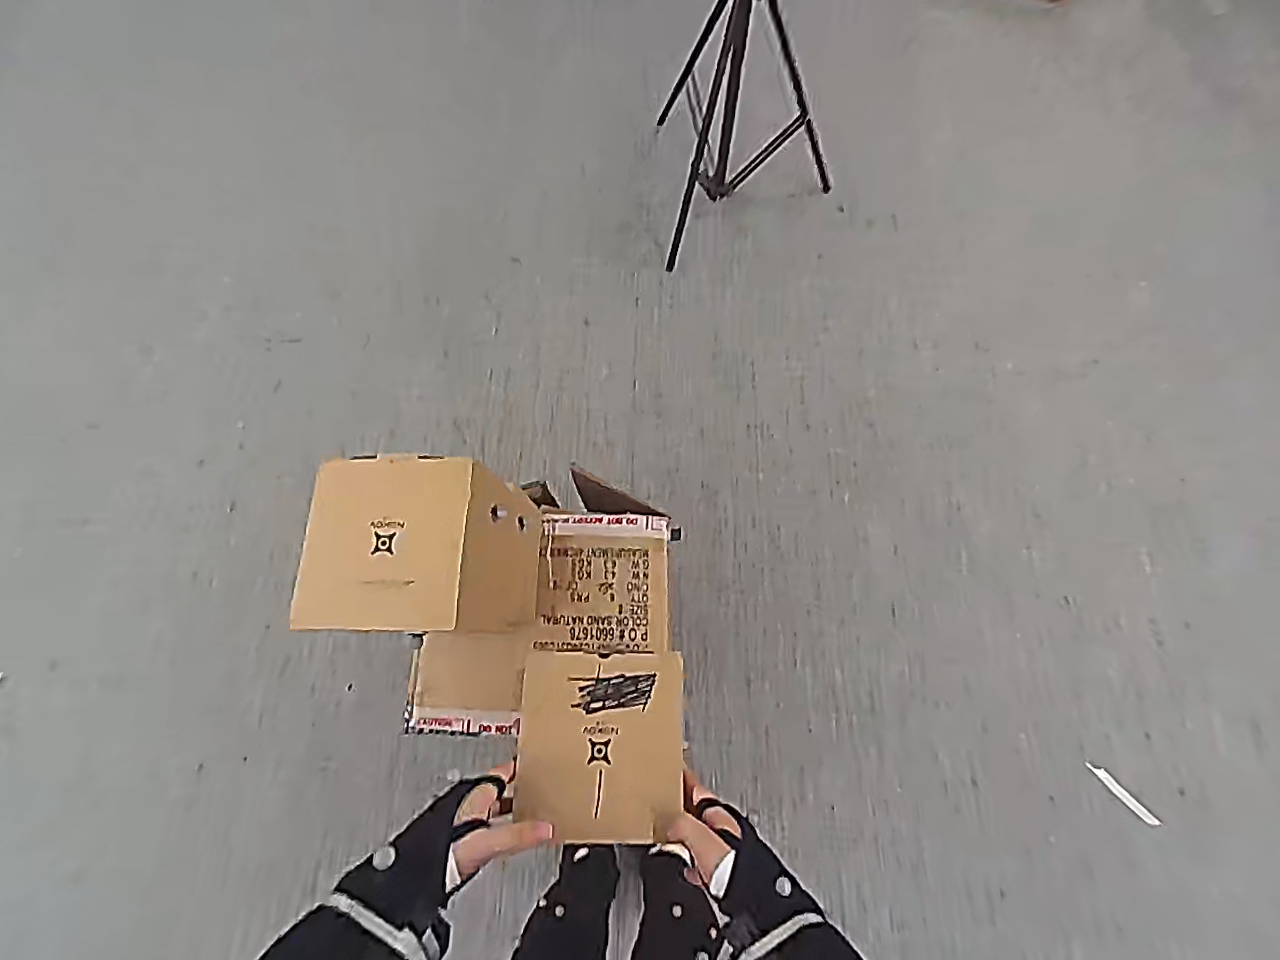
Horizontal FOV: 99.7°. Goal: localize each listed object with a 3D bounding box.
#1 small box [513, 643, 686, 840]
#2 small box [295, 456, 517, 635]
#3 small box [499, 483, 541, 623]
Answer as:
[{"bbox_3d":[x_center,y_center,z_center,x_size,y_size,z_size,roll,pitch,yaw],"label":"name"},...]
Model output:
[{"bbox_3d":[-0.041,0.287,0.617,0.168,0.176,0.179,3,70,-2],"label":"small box"},{"bbox_3d":[-0.243,0.082,0.611,0.168,0.176,0.179,-1,74,3],"label":"small box"},{"bbox_3d":[-0.242,0.109,0.773,0.168,0.176,0.179,0,74,3],"label":"small box"}]
